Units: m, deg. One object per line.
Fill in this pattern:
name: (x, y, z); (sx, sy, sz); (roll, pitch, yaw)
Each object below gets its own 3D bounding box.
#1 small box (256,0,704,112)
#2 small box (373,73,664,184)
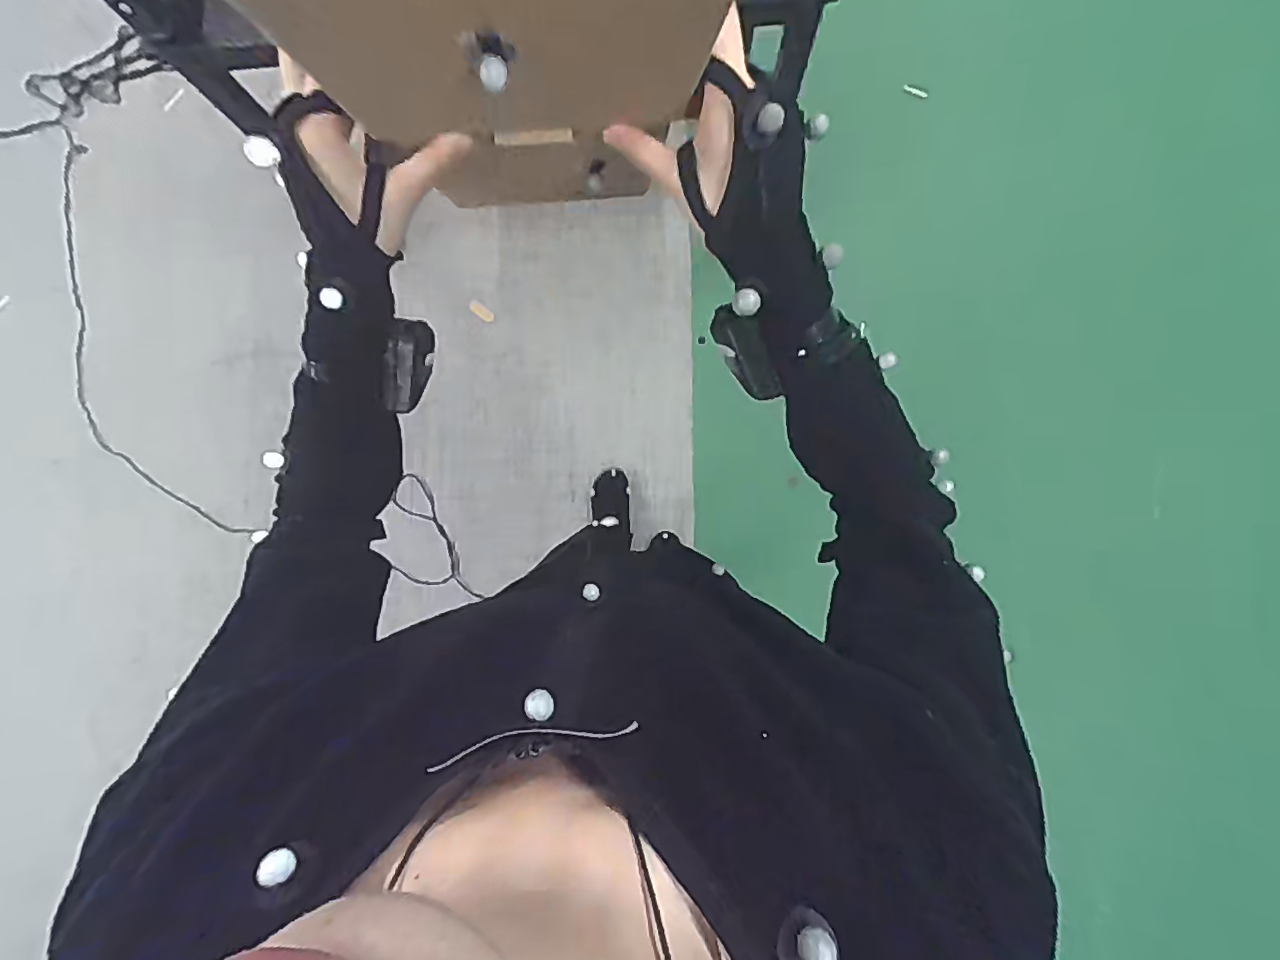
small box: (-0.062, -0.262, 0.198); (0.179, 0.176, 0.168); (-6, 104, -4)
small box: (-0.077, -0.308, 0.354); (0.168, 0.176, 0.179); (-5, 104, -5)
